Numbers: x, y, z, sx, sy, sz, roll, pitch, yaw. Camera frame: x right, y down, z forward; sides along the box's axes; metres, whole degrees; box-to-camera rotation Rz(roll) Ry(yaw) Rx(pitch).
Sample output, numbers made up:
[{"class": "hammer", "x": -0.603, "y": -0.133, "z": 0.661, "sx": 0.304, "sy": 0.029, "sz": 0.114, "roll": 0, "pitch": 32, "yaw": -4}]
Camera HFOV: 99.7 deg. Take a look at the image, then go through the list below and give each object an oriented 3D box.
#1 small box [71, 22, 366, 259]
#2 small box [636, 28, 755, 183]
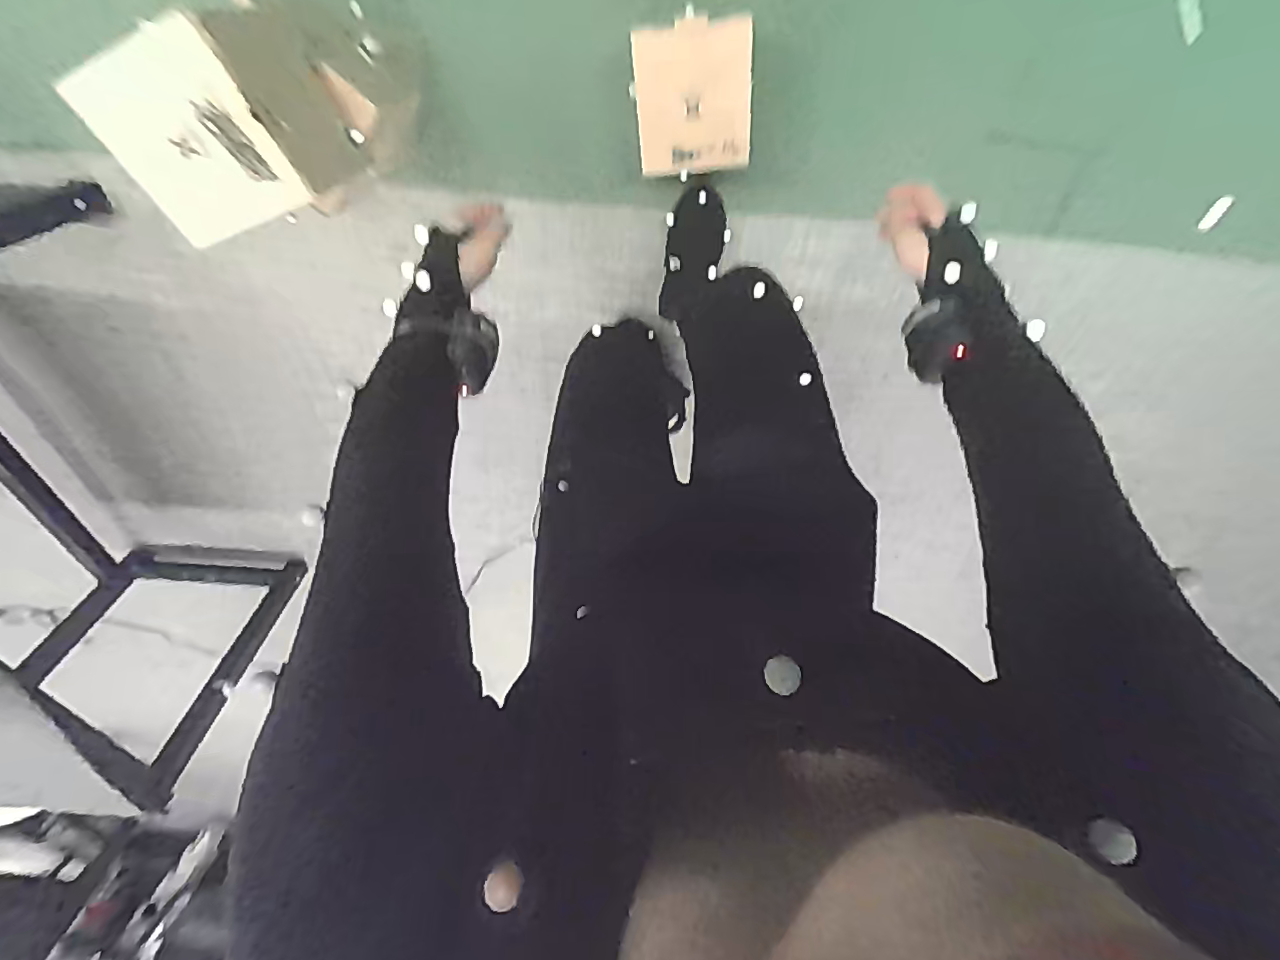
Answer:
[{"class": "small box", "x": -0.444, "y": -0.384, "z": 0.612, "sx": 0.179, "sy": 0.176, "sz": 0.168, "roll": -13, "pitch": 130, "yaw": 15}, {"class": "small box", "x": 0.082, "y": -0.582, "z": 0.842, "sx": 0.168, "sy": 0.176, "sz": 0.179, "roll": -3, "pitch": 130, "yaw": 5}]
